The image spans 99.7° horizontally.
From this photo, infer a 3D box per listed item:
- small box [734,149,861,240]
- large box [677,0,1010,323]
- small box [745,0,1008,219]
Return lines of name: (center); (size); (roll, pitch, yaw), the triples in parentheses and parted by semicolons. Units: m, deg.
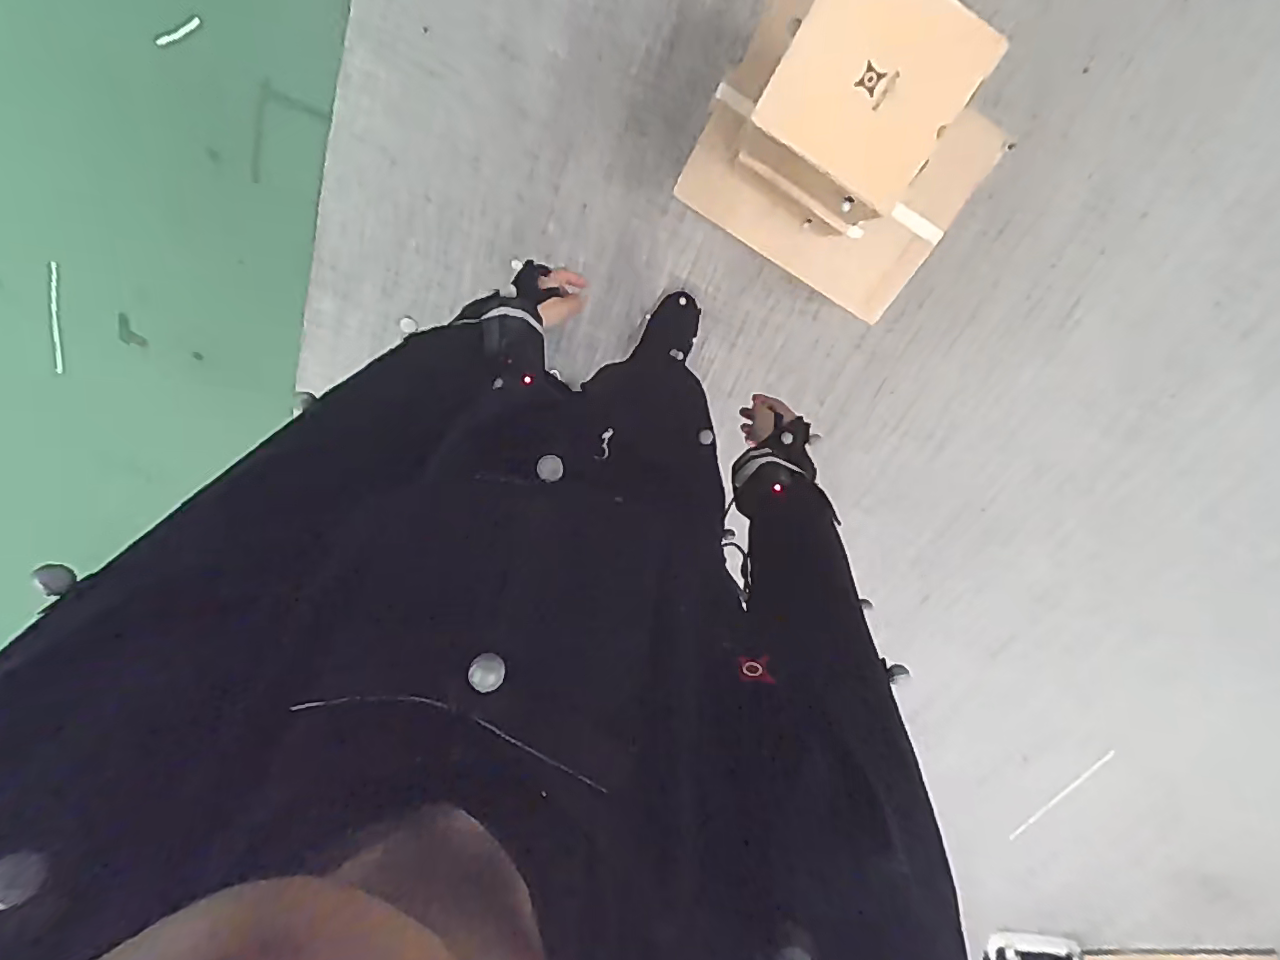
small box: (0.247, -0.452, 0.741); (0.179, 0.176, 0.168); (31, 112, -6)
large box: (0.313, -0.534, 0.963); (0.408, 0.320, 0.320); (29, 115, -7)
small box: (0.231, -0.403, 0.586); (0.179, 0.176, 0.168); (30, 113, -7)
